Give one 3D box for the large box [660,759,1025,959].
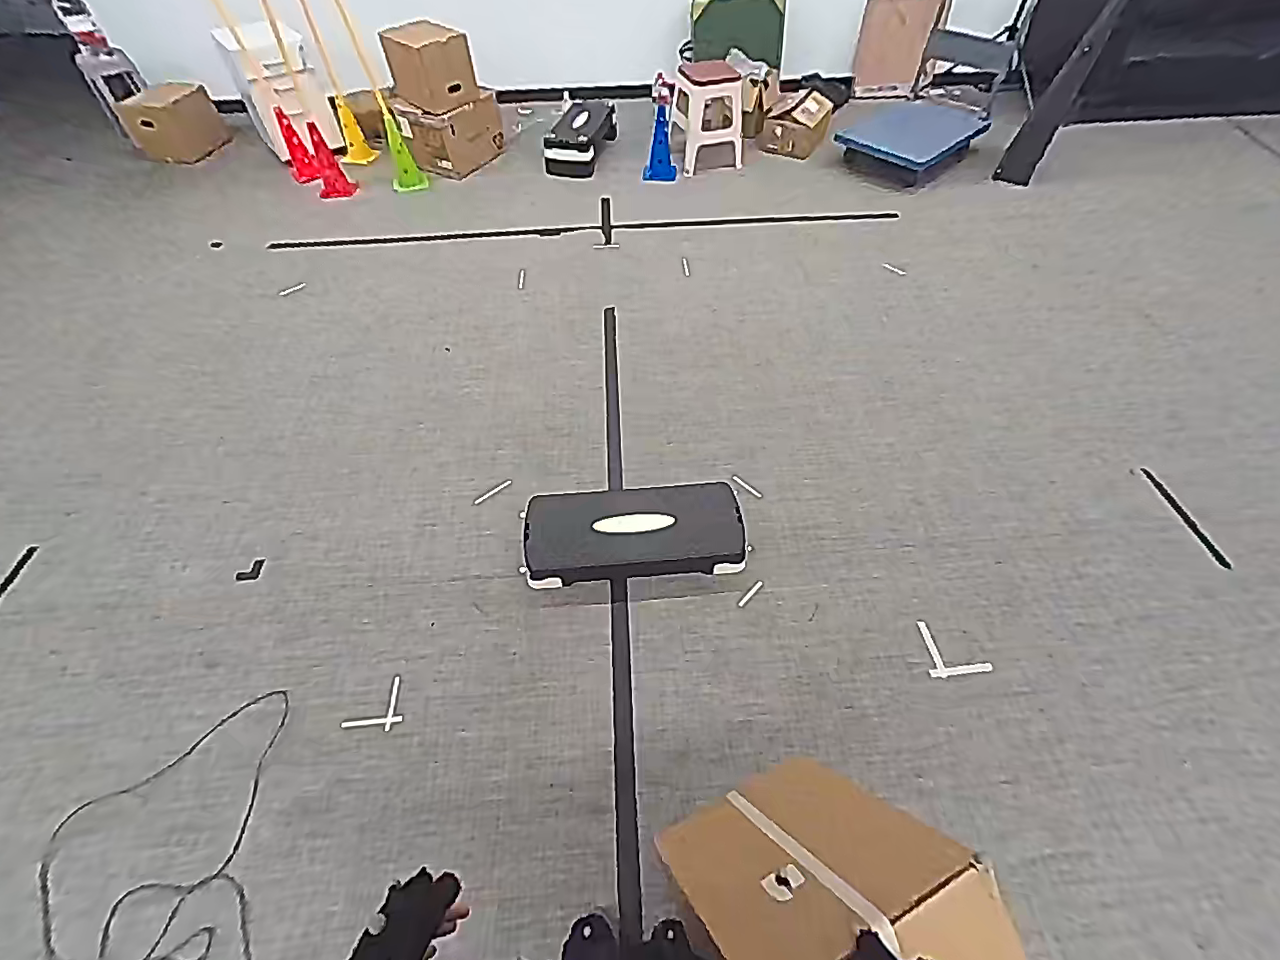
[{"bbox_3d":[0.269,0.667,0.761,0.320,0.408,0.320,-19,85,-17],"label":"large box"}]
